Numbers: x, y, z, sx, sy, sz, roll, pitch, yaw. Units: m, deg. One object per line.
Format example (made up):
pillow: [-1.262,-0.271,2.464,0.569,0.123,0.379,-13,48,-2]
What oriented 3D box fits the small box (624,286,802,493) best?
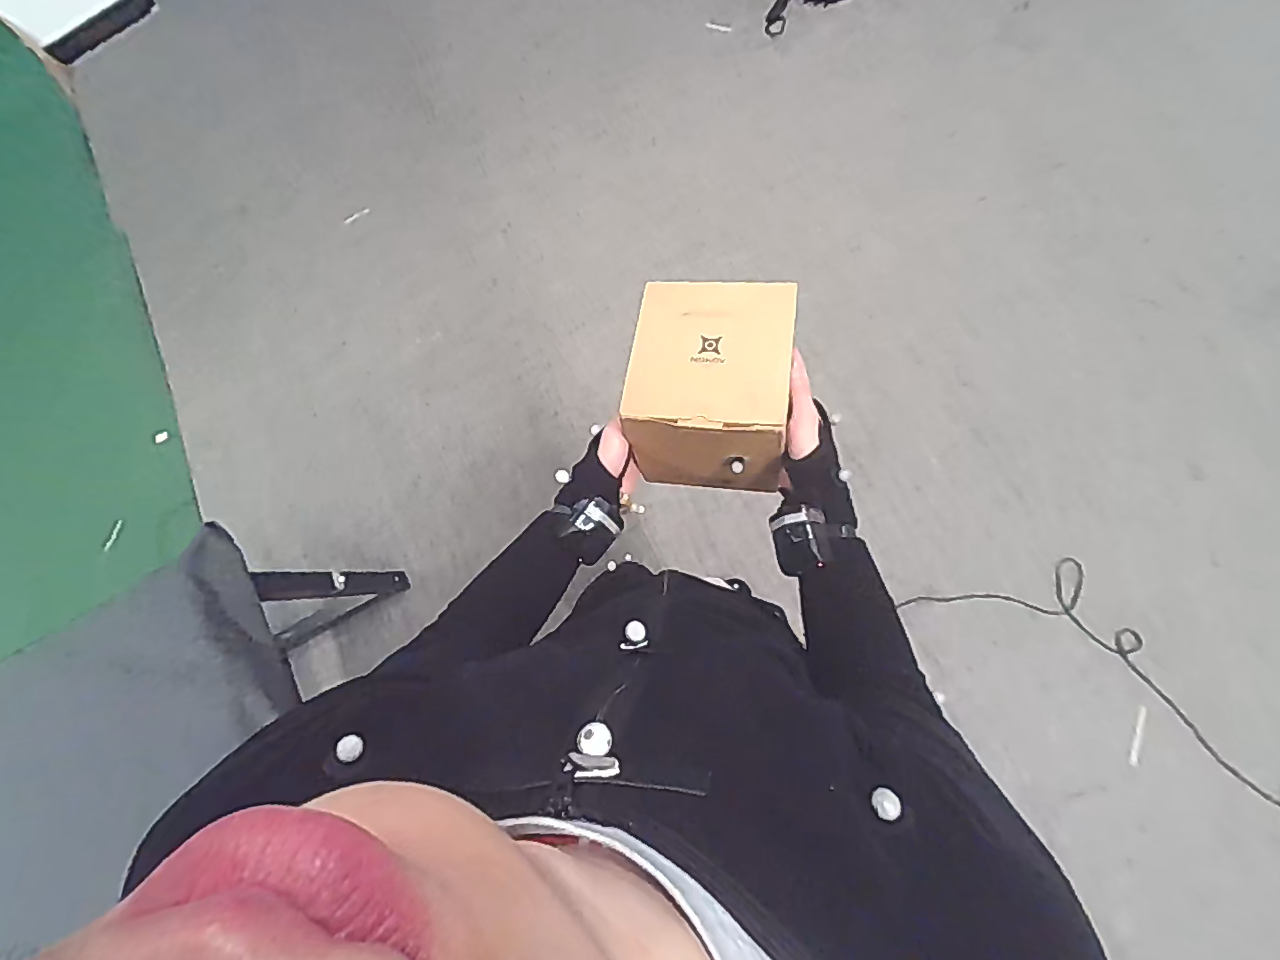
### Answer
small box: [0.089,-0.097,0.625,0.168,0.176,0.179,6,66,12]
